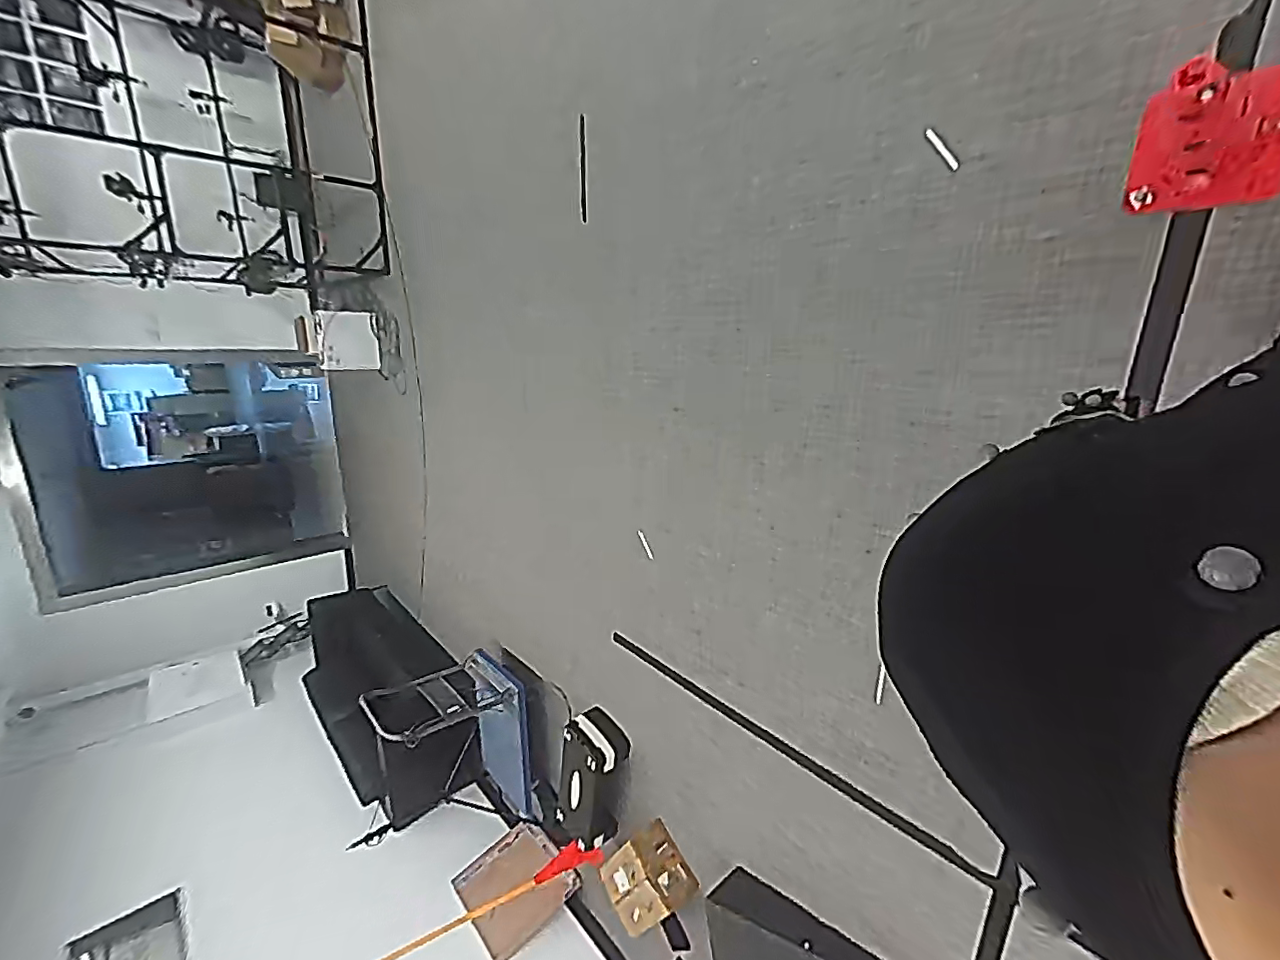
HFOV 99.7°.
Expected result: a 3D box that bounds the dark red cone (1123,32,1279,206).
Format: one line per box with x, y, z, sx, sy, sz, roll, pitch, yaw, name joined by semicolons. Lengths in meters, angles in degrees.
0.821;-0.544;0.783;0.201;0.394;0.202;16;111;45;dark red cone
